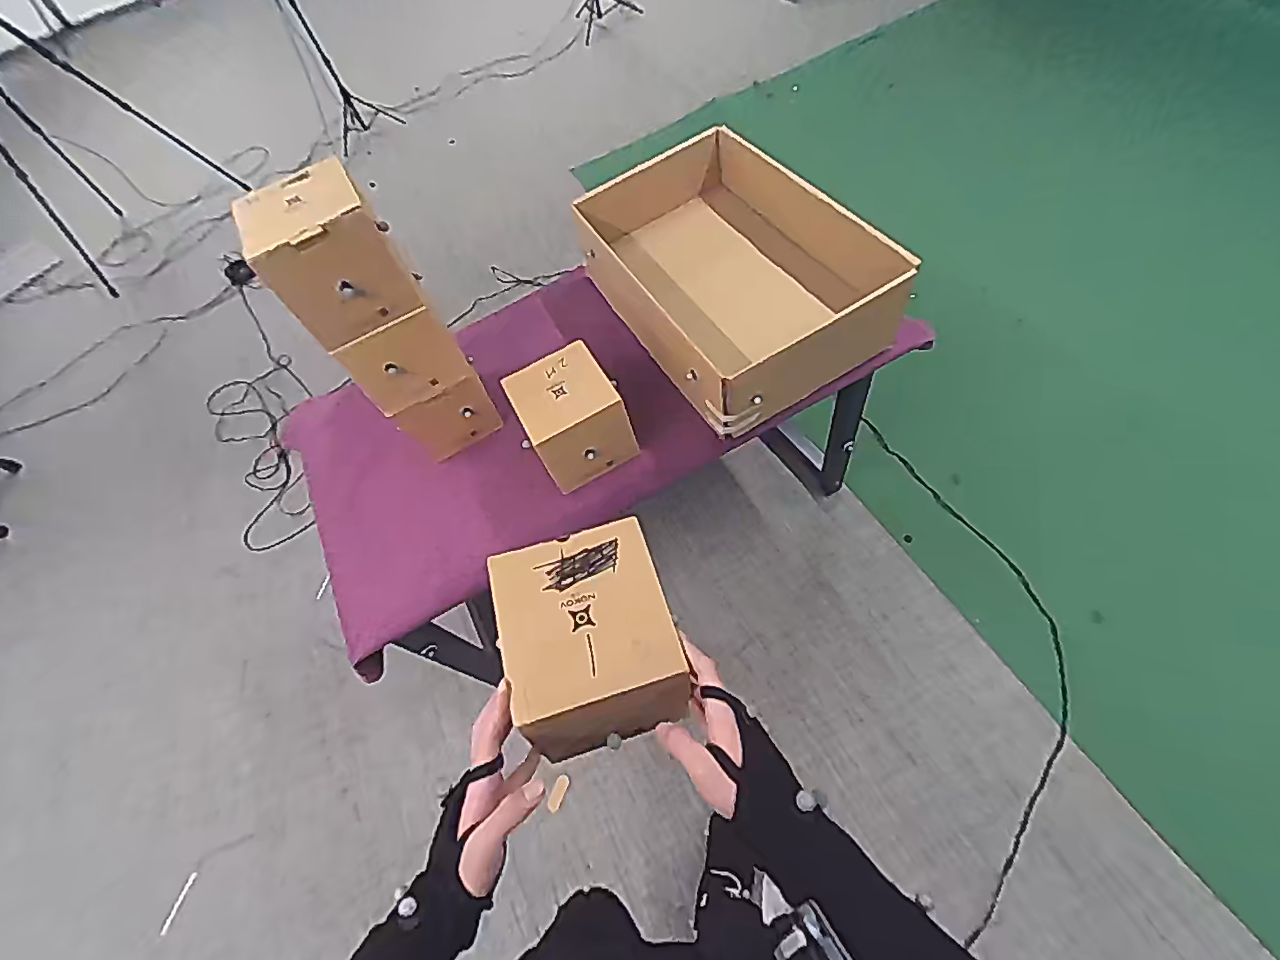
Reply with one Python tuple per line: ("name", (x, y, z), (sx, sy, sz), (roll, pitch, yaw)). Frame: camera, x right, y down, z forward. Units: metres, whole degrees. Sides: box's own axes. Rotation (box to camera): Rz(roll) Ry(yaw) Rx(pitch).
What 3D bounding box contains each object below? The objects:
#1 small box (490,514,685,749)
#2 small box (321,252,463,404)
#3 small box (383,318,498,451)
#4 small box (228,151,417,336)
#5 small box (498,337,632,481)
("small box", (-0.055, 0.170, 0.598), (0.168, 0.176, 0.179), (-16, 54, -6))
("small box", (-0.436, -0.257, 0.947), (0.168, 0.176, 0.179), (-30, 59, -7))
("small box", (-0.410, -0.182, 1.087), (0.168, 0.176, 0.179), (-29, 59, -7))
("small box", (-0.464, -0.342, 0.809), (0.168, 0.176, 0.179), (-30, 60, -8))
("small box", (-0.130, -0.120, 0.992), (0.168, 0.176, 0.179), (-28, 59, -6))
